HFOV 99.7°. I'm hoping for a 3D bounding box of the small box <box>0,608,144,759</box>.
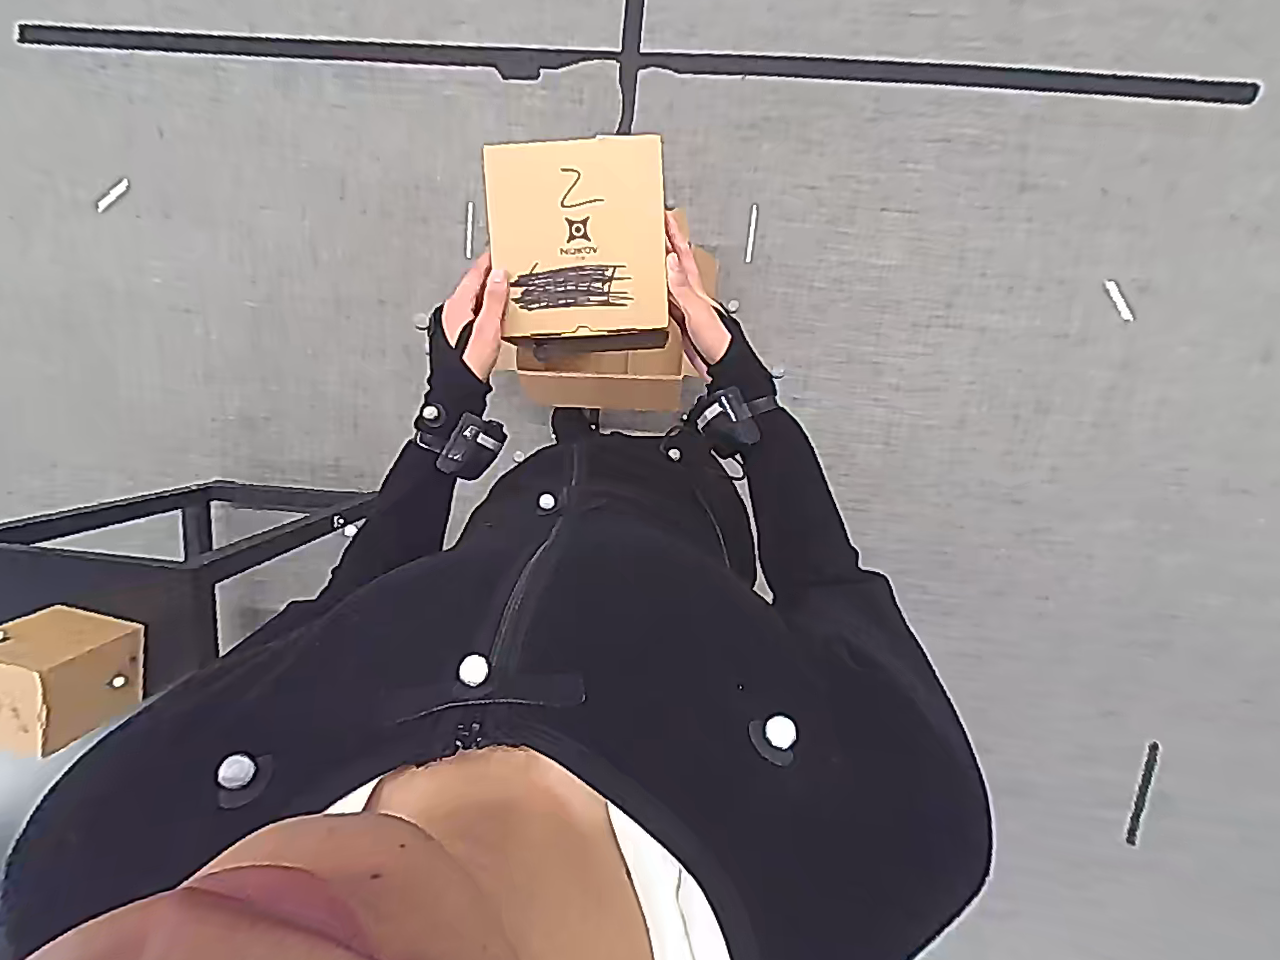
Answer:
[{"bbox_3d":[-1.031,0.342,0.943,0.179,0.176,0.168,13,102,2],"label":"small box"}]
